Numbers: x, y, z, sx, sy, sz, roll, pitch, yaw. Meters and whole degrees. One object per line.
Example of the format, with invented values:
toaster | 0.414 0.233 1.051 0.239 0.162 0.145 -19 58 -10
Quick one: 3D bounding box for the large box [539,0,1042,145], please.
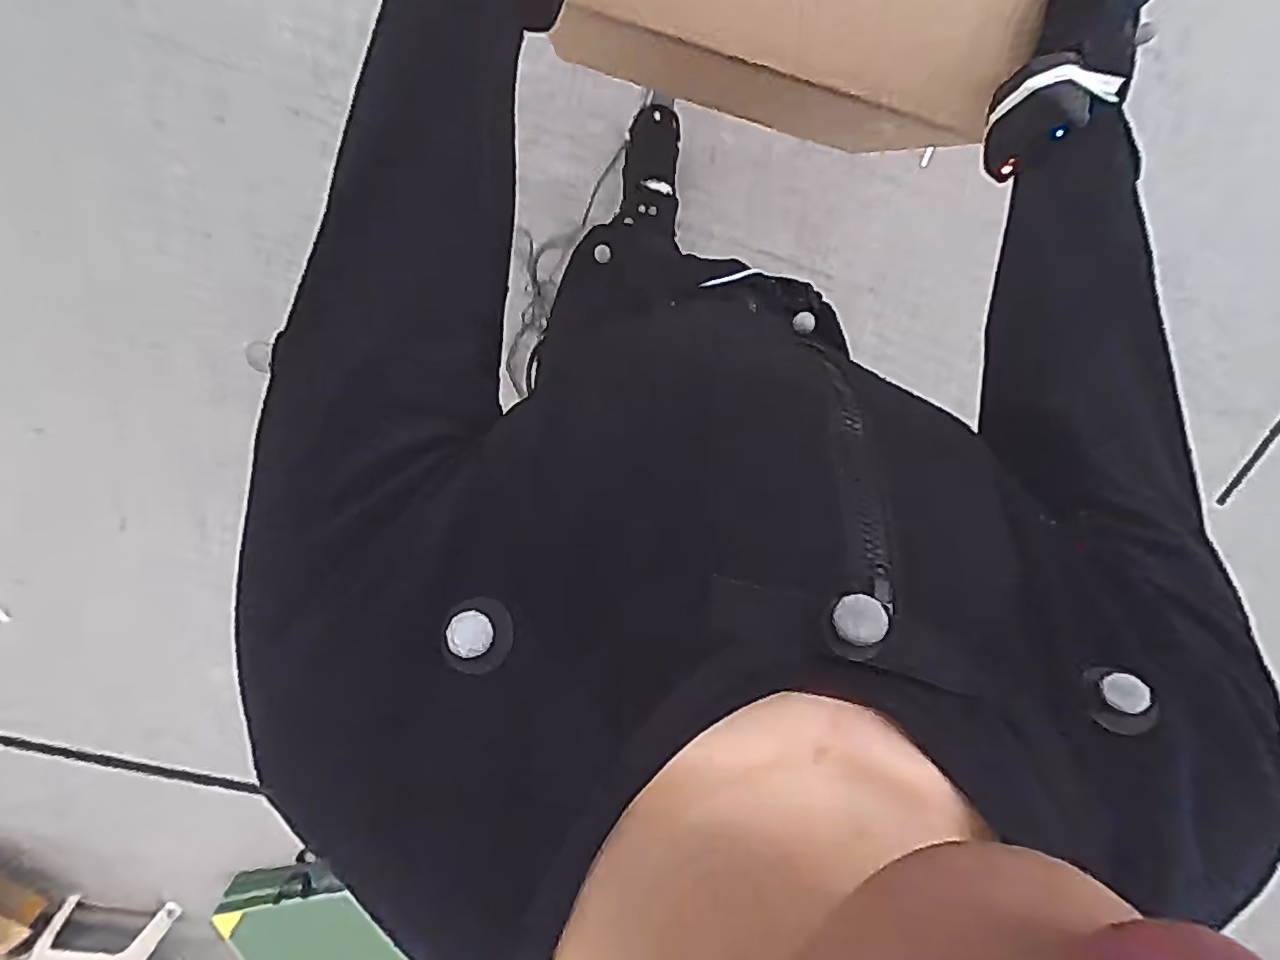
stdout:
large box | 0.134 -0.542 0.501 0.408 0.320 0.320 11 120 -9
